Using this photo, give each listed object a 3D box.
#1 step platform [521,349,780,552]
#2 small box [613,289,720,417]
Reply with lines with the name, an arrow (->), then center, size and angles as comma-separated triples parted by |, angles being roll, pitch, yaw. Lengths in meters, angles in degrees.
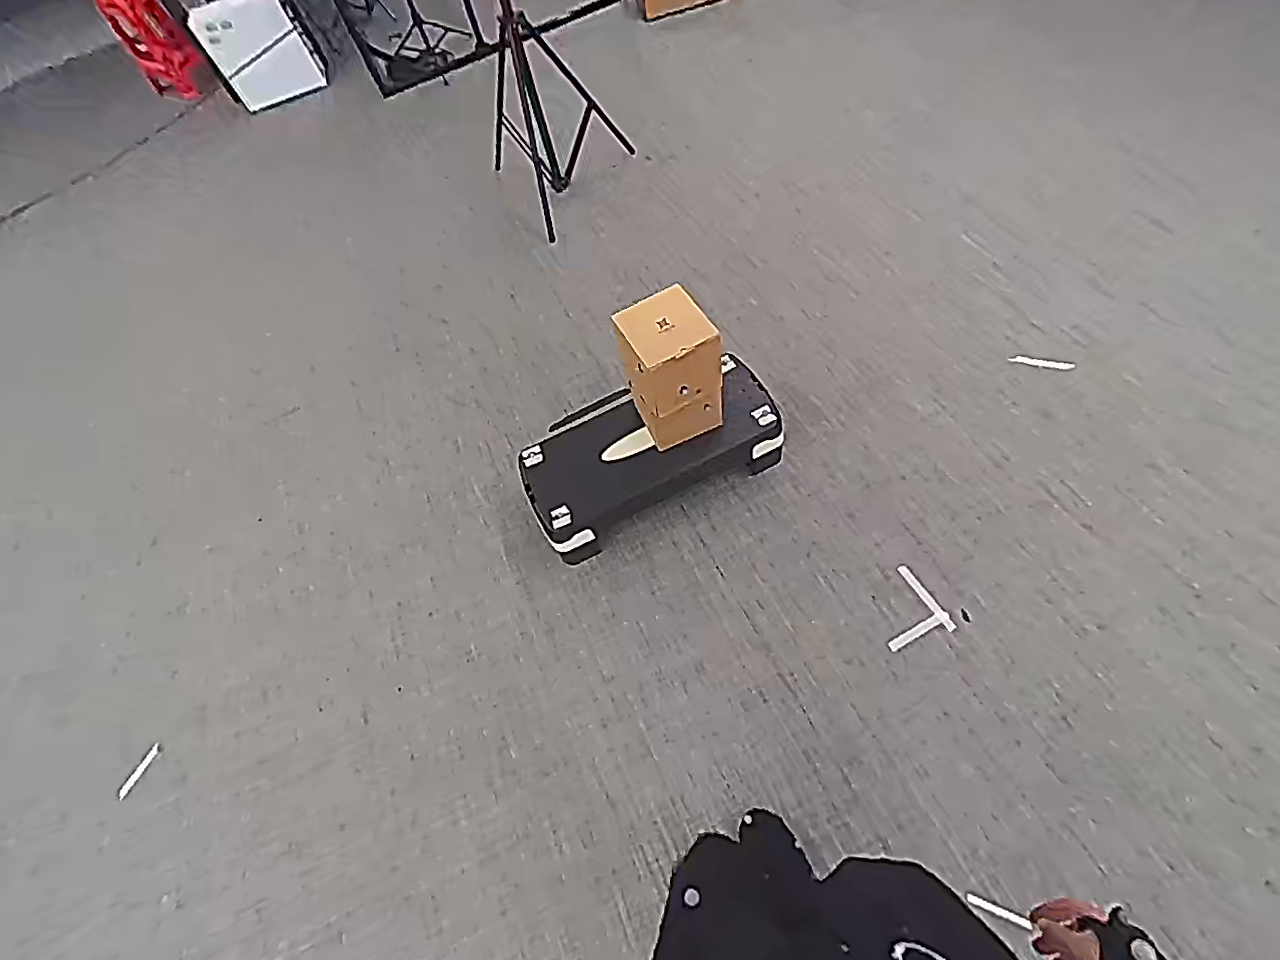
step platform -> 0.028, -0.084, 1.465 | 0.684, 0.204, 0.286 | -27, 60, -4
small box -> 0.059, -0.271, 1.175 | 0.168, 0.176, 0.179 | -28, 61, -7
